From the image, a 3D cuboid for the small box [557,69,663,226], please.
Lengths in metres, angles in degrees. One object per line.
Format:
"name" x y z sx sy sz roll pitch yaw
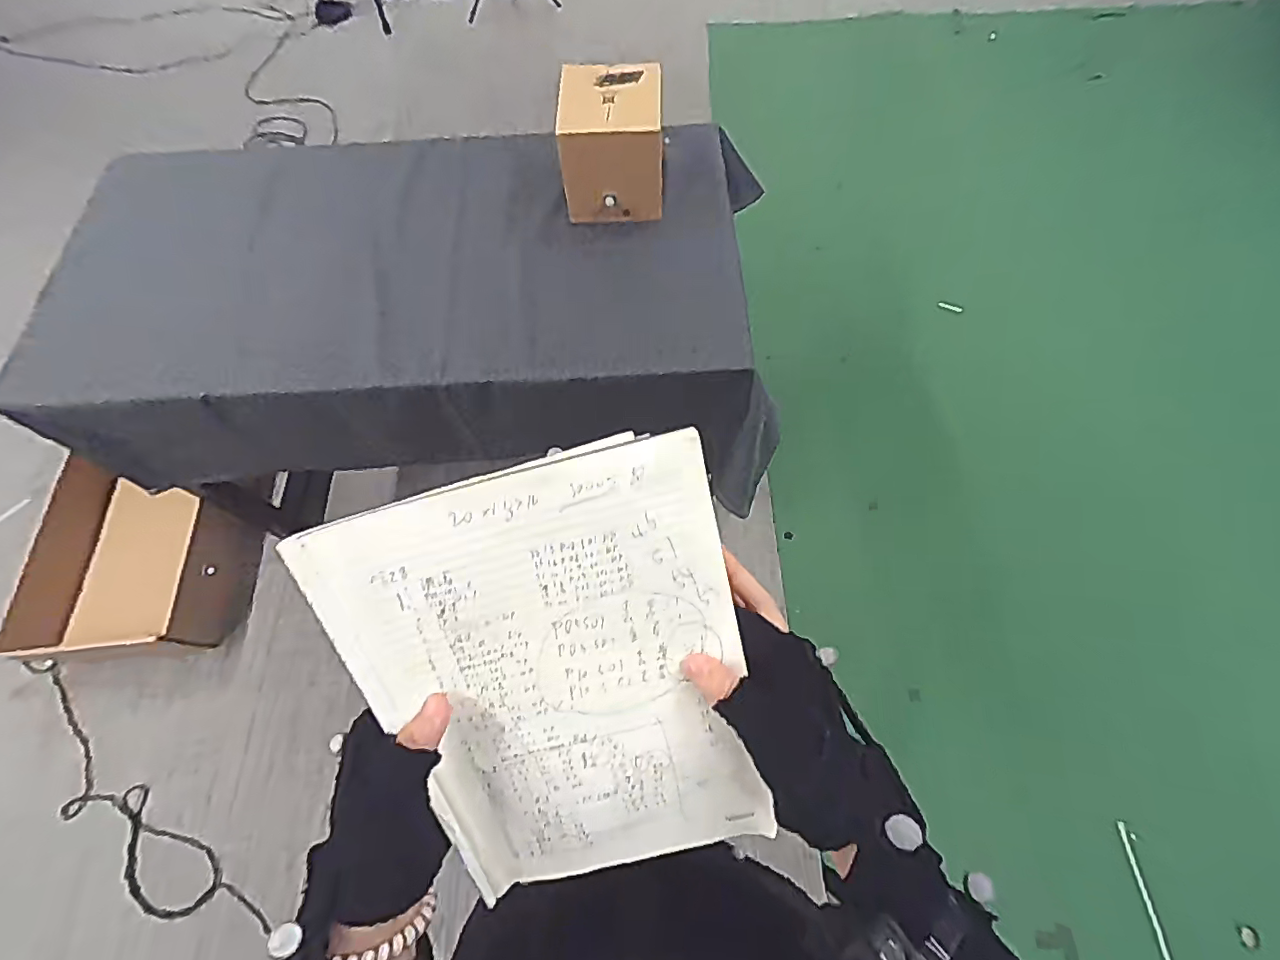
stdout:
"small box" -0.043 -0.573 0.939 0.168 0.176 0.179 0 66 2
